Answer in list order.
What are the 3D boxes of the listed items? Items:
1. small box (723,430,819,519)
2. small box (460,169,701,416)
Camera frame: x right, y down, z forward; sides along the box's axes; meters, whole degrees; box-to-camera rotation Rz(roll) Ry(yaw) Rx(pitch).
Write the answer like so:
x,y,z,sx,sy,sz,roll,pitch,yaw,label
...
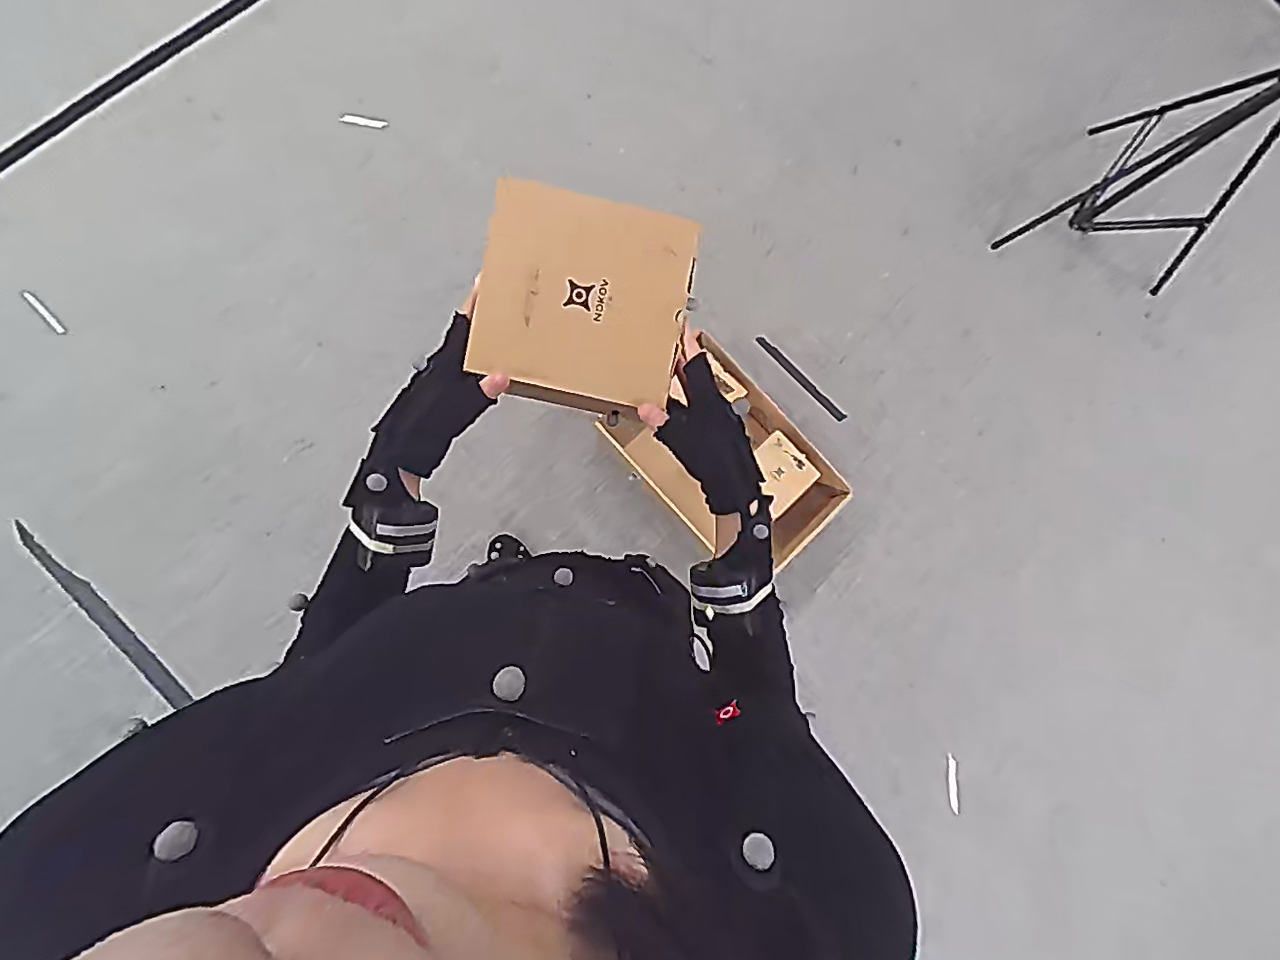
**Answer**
x,y,z,sx,sy,sz,roll,pitch,yaw,label
0.344,-0.007,1.470,0.179,0.176,0.168,-42,88,-8,small box
-0.052,-0.160,0.524,0.179,0.176,0.168,10,91,-3,small box
